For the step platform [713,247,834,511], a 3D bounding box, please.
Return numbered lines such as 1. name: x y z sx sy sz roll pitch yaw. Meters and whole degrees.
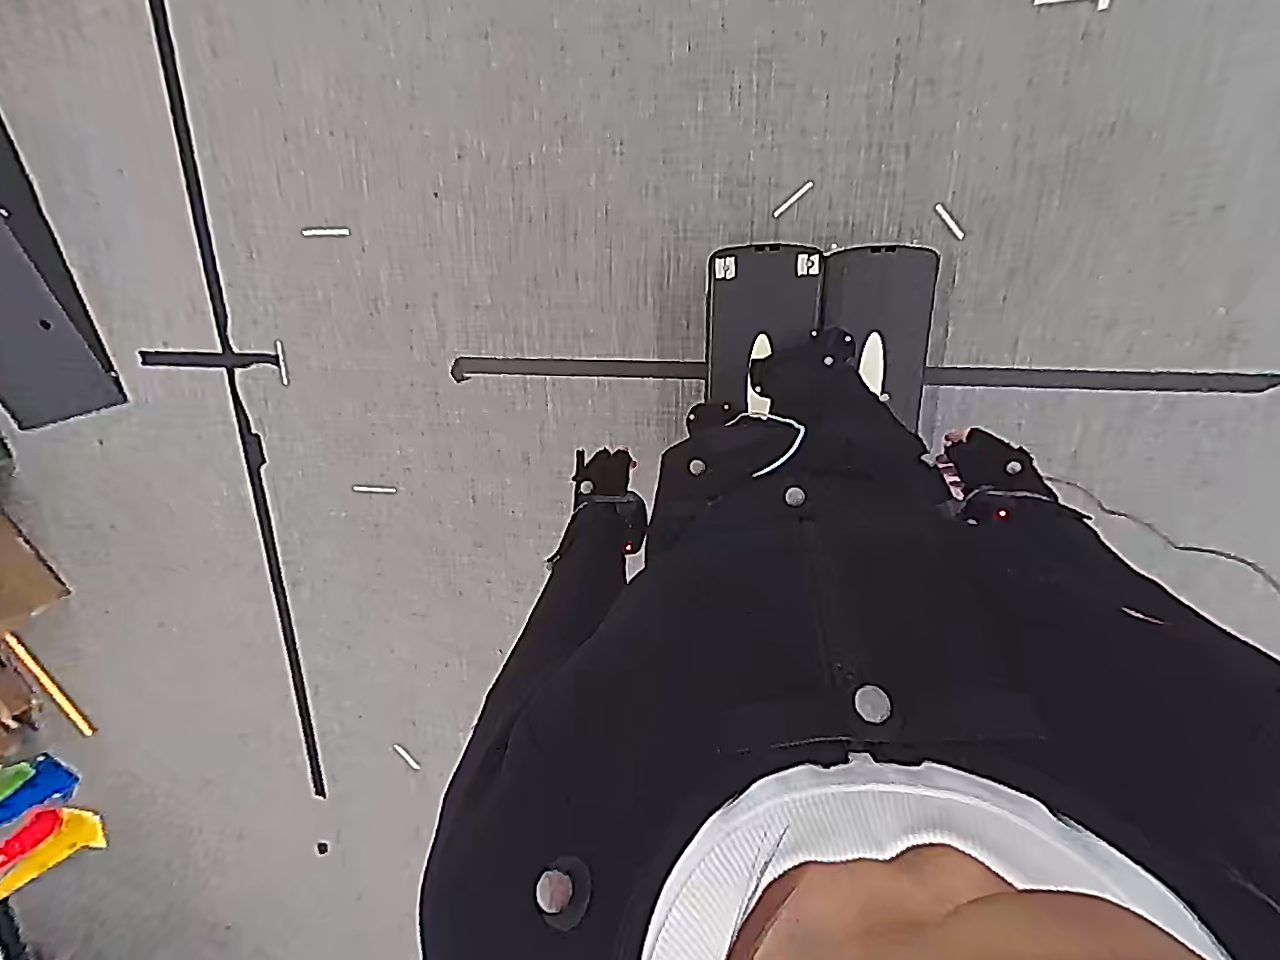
1. step platform: 0.345 -0.257 1.454 0.286 0.204 0.684 1 104 8
